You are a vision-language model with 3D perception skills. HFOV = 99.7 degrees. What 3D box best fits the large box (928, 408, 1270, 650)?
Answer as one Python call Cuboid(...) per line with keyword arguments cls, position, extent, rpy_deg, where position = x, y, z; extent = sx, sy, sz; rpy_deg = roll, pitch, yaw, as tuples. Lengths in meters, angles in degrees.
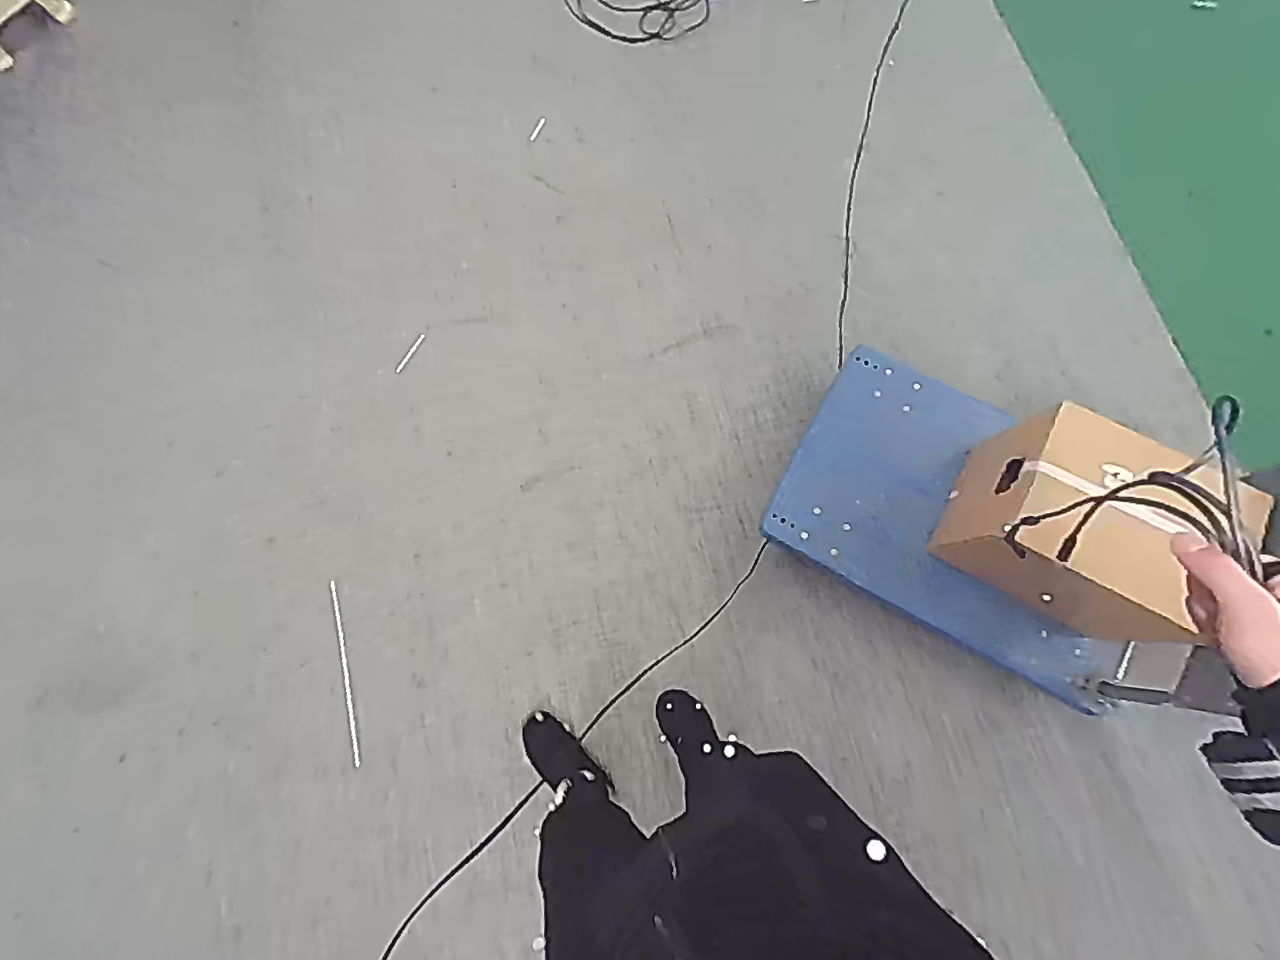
Cuboid(cls="large box", position=(0.920, 0.112, 1.140), extent=(0.408, 0.320, 0.320), rpy_deg=(29, 79, 9))
